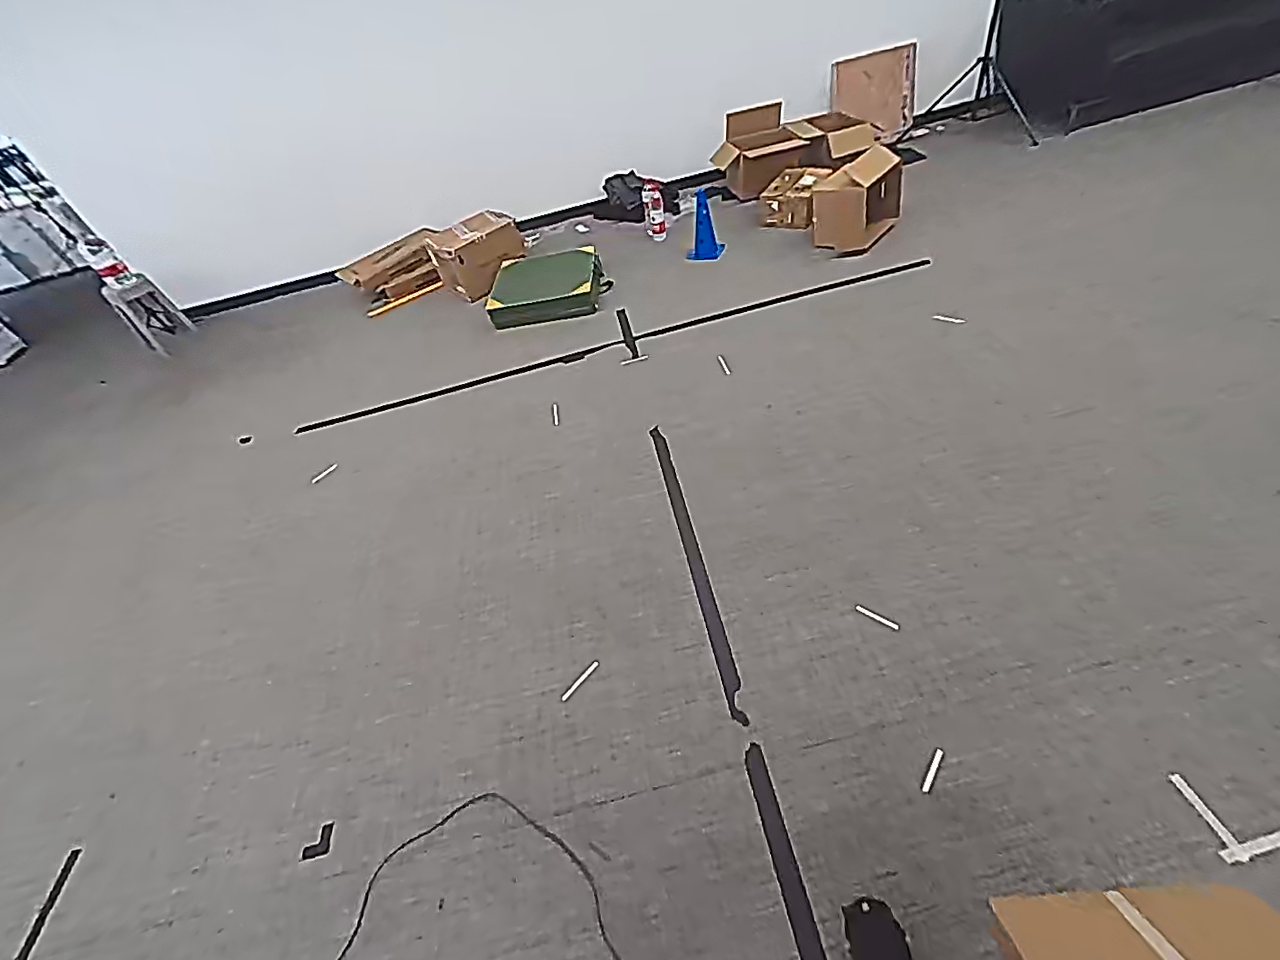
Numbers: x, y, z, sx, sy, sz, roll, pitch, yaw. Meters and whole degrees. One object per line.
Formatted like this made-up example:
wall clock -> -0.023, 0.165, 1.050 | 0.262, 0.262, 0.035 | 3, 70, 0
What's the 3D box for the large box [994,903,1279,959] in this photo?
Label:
large box -> 0.624, 0.711, 0.521 | 0.320, 0.408, 0.320 | -11, 85, 10
